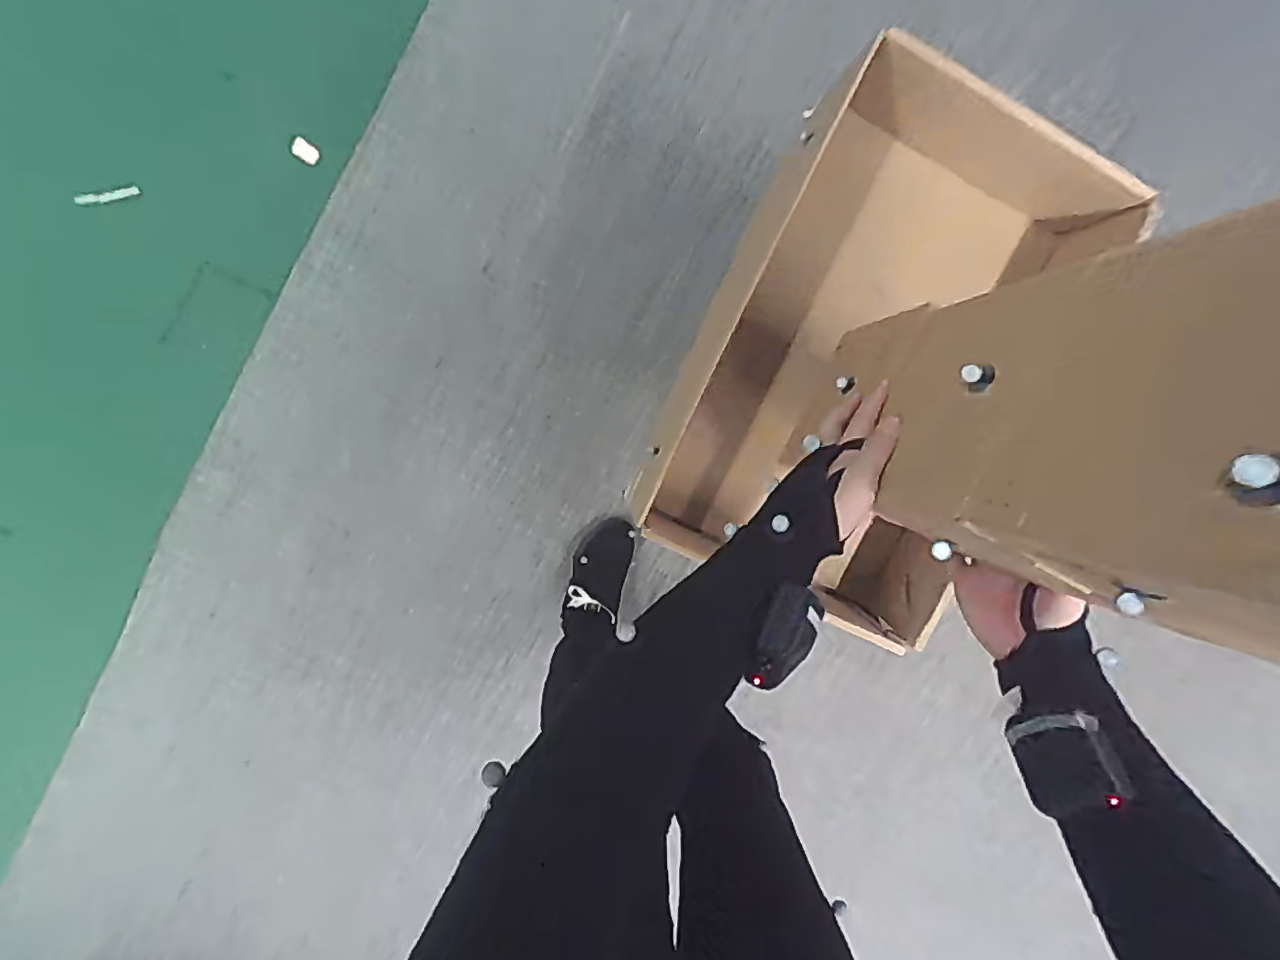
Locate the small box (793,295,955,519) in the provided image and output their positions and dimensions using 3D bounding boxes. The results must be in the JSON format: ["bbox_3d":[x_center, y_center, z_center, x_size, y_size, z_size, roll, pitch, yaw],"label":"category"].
[{"bbox_3d":[0.284,-0.060,0.569,0.168,0.176,0.179,26,93,-8],"label":"small box"}]

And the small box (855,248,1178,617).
[{"bbox_3d":[0.297,-0.033,0.406,0.168,0.176,0.179,26,94,-7],"label":"small box"}]
